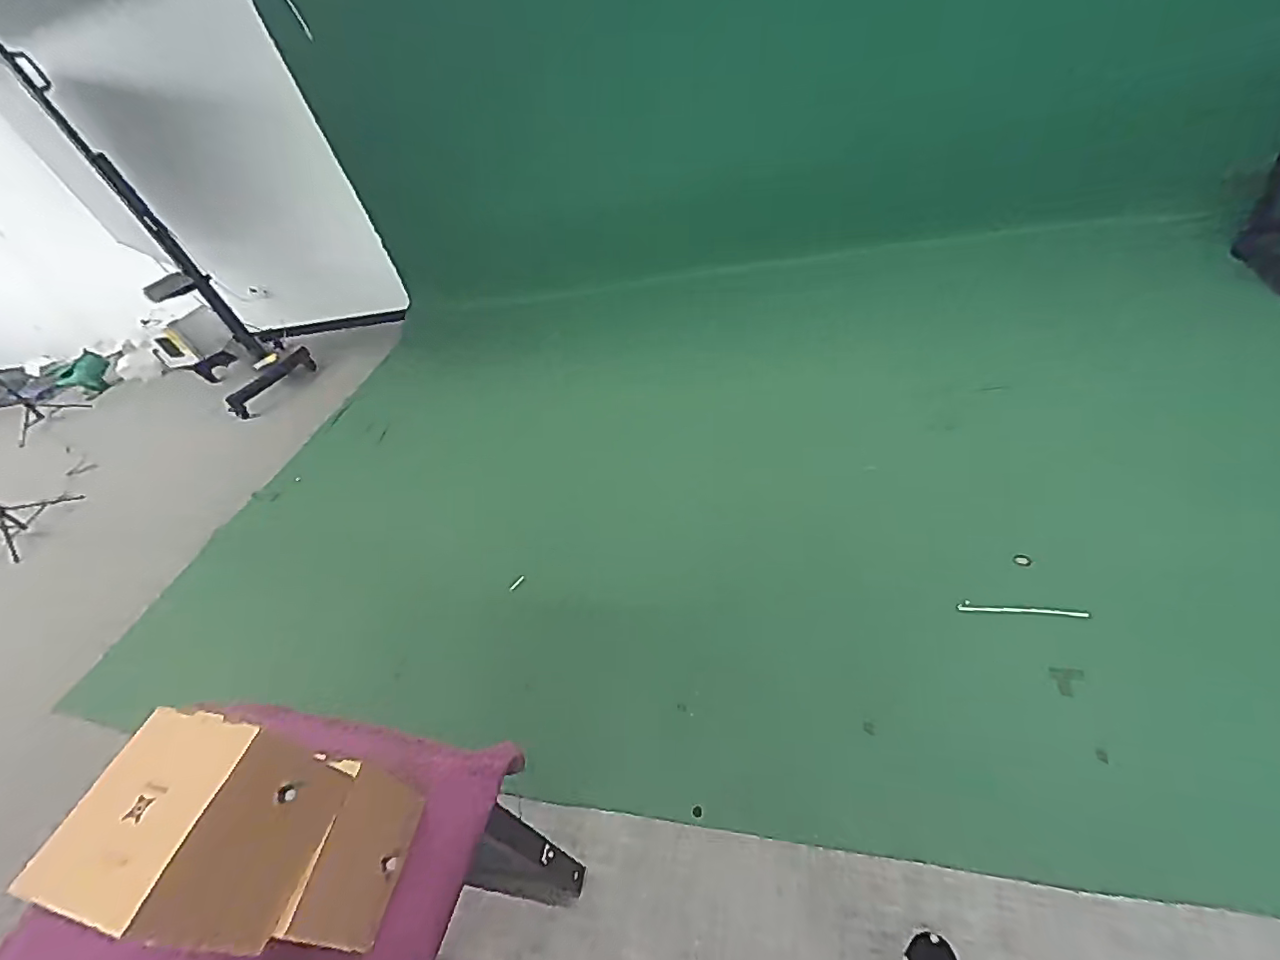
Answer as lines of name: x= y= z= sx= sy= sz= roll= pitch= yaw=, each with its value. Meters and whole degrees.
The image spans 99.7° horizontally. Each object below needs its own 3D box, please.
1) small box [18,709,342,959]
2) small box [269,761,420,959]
small box: x=-0.464 y=0.379 z=0.585 sx=0.168 sy=0.176 sz=0.179 roll=0 pitch=46 yaw=20
small box: x=-0.416 y=0.486 z=0.699 sx=0.168 sy=0.176 sz=0.179 roll=-5 pitch=44 yaw=15
